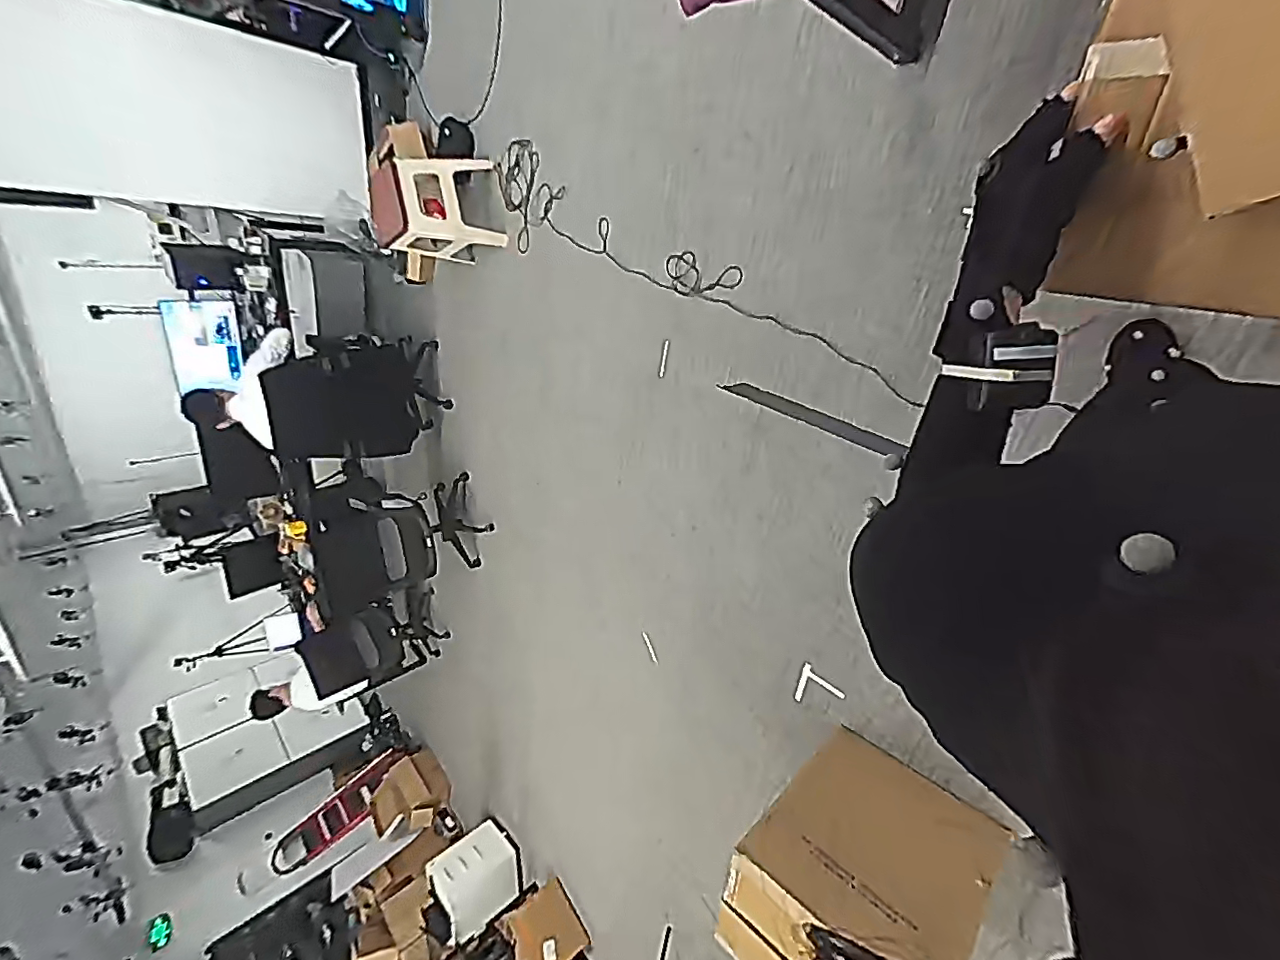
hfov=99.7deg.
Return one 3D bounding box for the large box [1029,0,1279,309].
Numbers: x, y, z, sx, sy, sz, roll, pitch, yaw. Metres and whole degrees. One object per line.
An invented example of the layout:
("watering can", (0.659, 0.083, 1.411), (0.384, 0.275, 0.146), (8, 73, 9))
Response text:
("large box", (0.561, -0.292, 0.354), (0.408, 0.320, 0.320), (23, 129, 36))
